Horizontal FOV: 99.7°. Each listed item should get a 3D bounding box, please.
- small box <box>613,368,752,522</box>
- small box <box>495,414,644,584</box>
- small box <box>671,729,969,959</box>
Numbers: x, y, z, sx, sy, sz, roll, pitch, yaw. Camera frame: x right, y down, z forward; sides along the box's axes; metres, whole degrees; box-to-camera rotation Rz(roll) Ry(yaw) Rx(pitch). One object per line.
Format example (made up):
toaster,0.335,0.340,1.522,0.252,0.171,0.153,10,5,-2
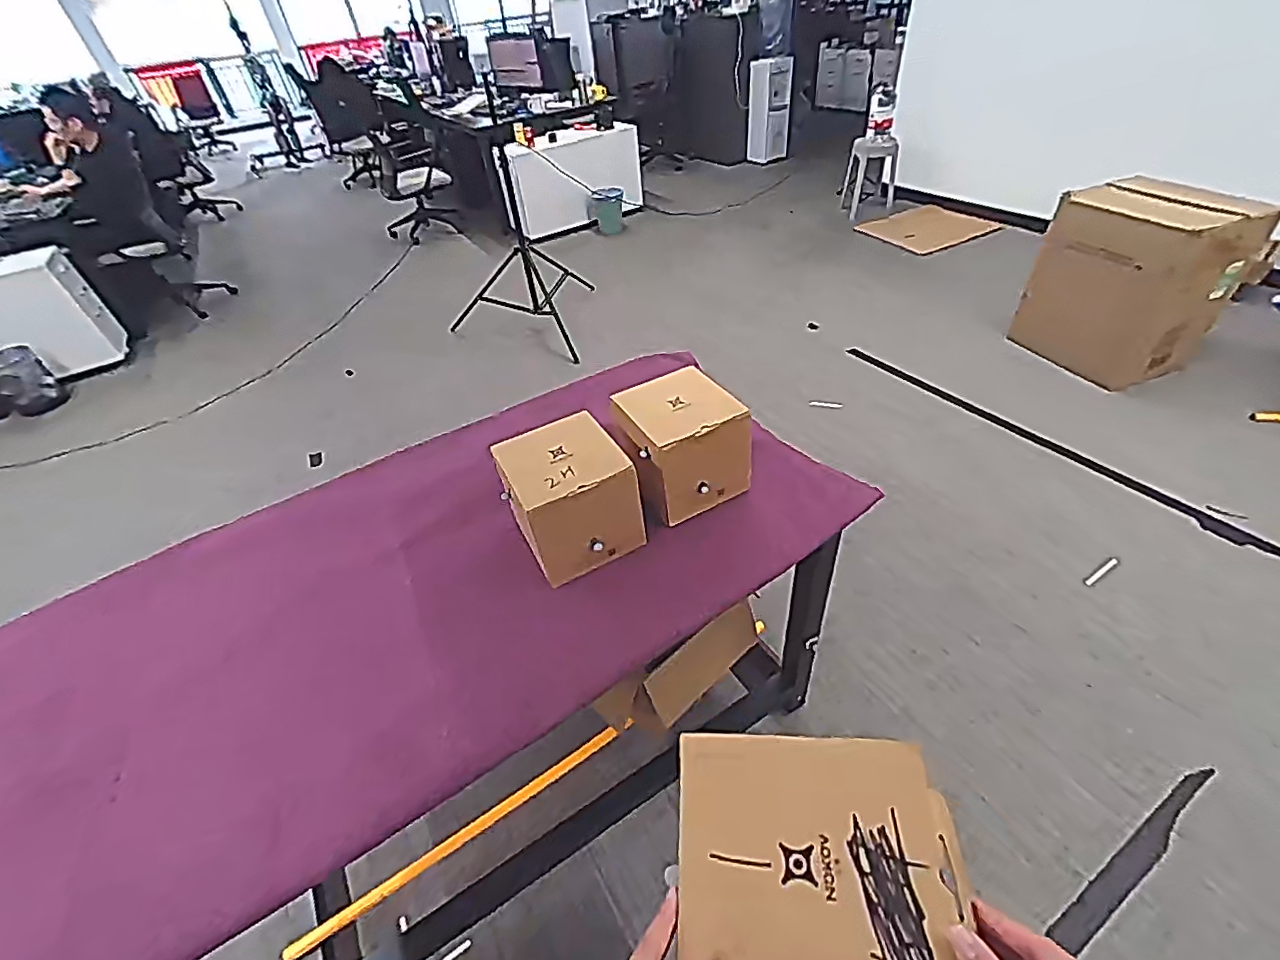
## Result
small box,0.071,-0.060,0.919,0.168,0.176,0.179,-24,44,-16
small box,-0.108,0.028,0.850,0.168,0.176,0.179,-24,44,-16
small box,0.118,0.307,0.410,0.179,0.176,0.168,-2,45,9
